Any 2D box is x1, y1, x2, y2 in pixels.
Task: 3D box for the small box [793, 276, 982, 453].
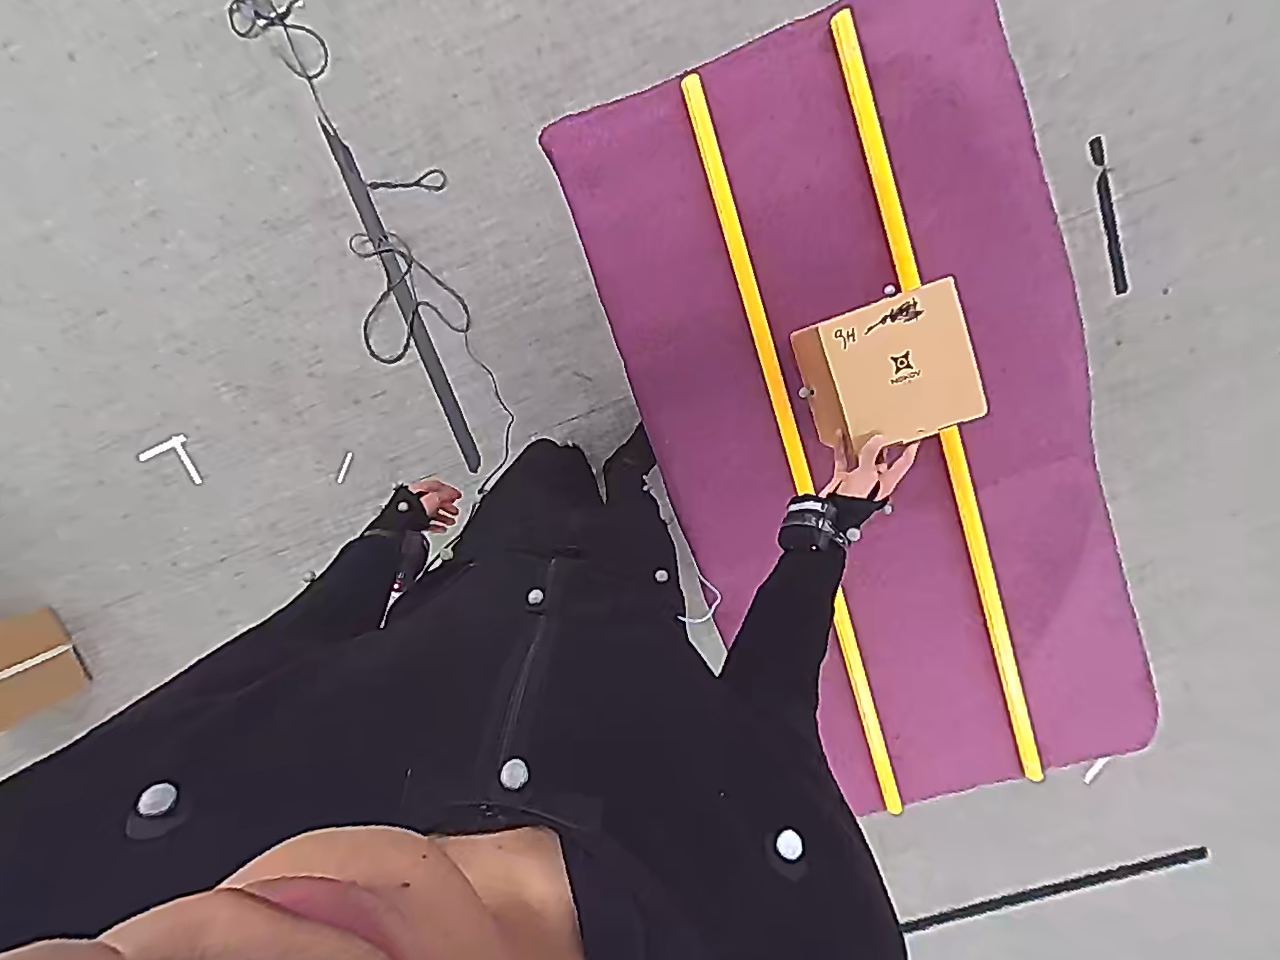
[{"bbox_3d":[0.323,-0.154,0.735,0.168,0.176,0.179,-18,100,7],"label":"small box"}]
